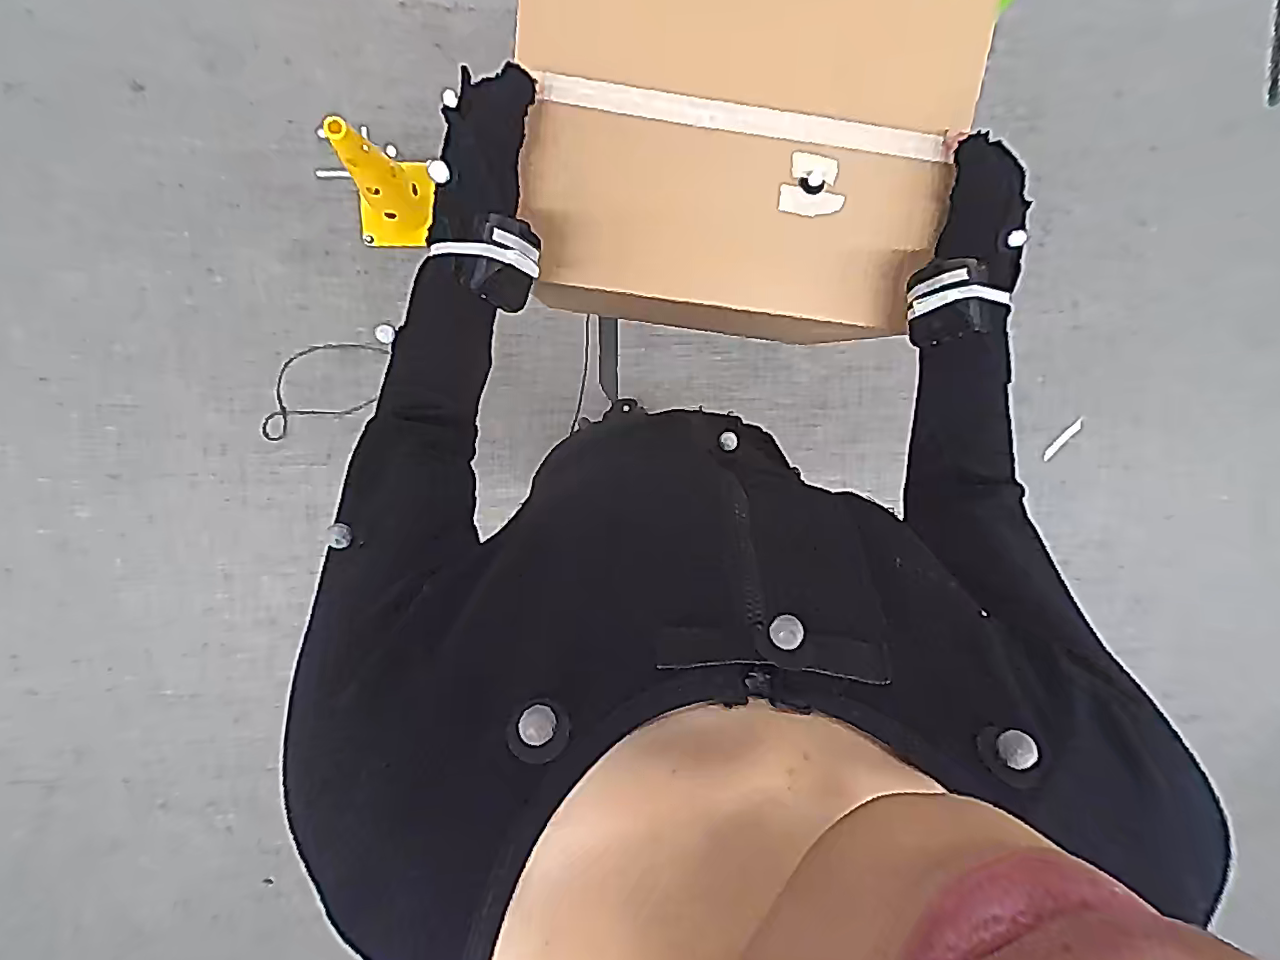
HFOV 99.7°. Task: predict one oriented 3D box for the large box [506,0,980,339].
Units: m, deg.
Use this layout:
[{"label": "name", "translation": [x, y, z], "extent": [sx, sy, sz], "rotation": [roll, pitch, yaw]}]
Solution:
[{"label": "large box", "translation": [0.078, -0.349, 0.625], "extent": [0.408, 0.320, 0.320], "rotation": [6, 102, -5]}]
